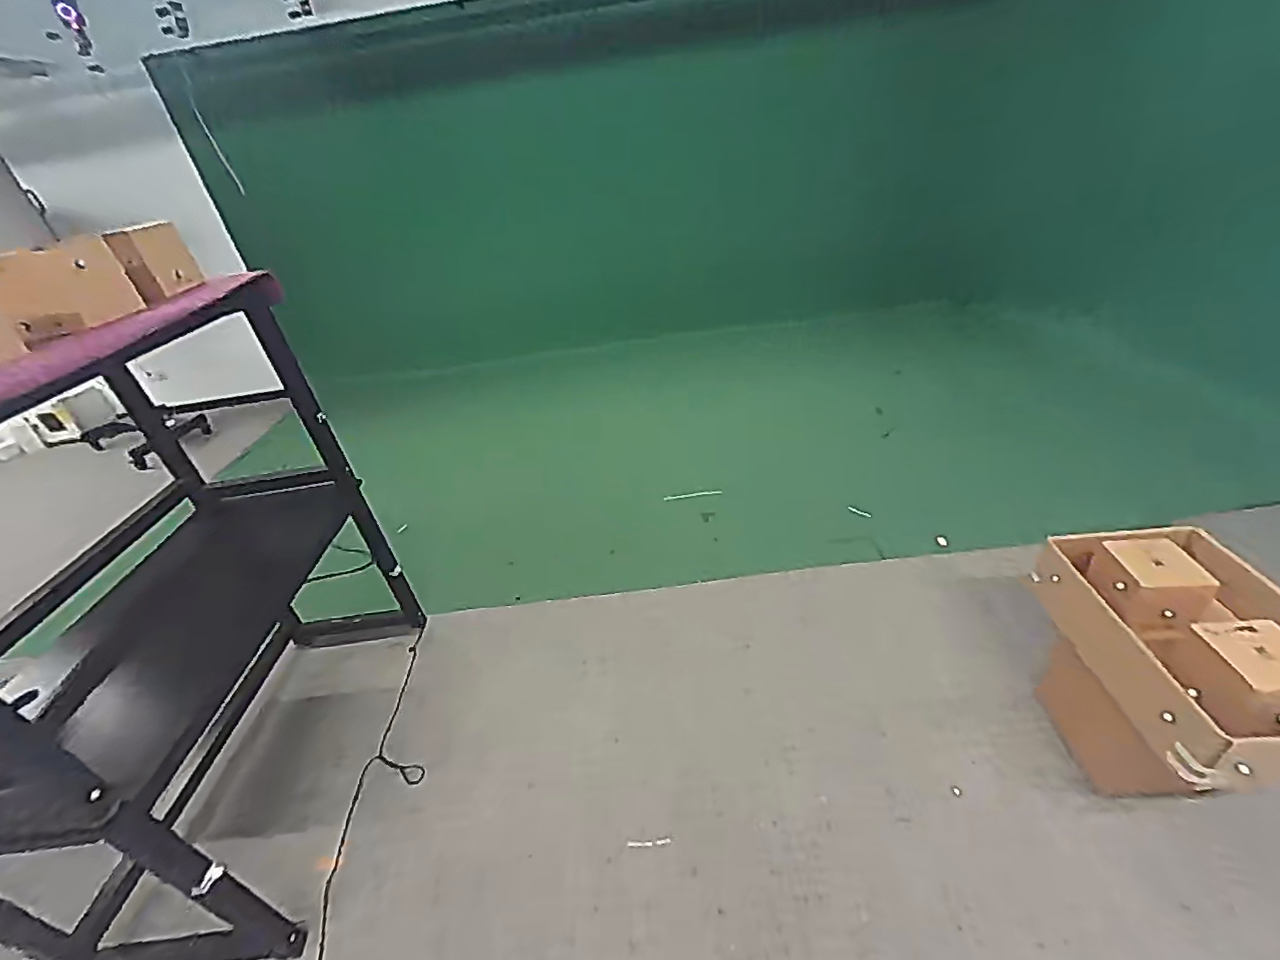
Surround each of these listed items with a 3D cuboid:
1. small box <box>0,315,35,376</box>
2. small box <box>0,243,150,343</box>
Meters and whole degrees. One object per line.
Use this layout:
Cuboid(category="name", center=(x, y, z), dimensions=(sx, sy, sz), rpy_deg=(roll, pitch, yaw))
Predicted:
Cuboid(category="small box", center=(-1.268, -0.248, 0.956), dimensions=(0.179, 0.176, 0.168), rpy_deg=(-5, 32, 8))
Cuboid(category="small box", center=(-1.280, -0.417, 1.219), dimensions=(0.168, 0.176, 0.179), rpy_deg=(-9, 32, 2))
